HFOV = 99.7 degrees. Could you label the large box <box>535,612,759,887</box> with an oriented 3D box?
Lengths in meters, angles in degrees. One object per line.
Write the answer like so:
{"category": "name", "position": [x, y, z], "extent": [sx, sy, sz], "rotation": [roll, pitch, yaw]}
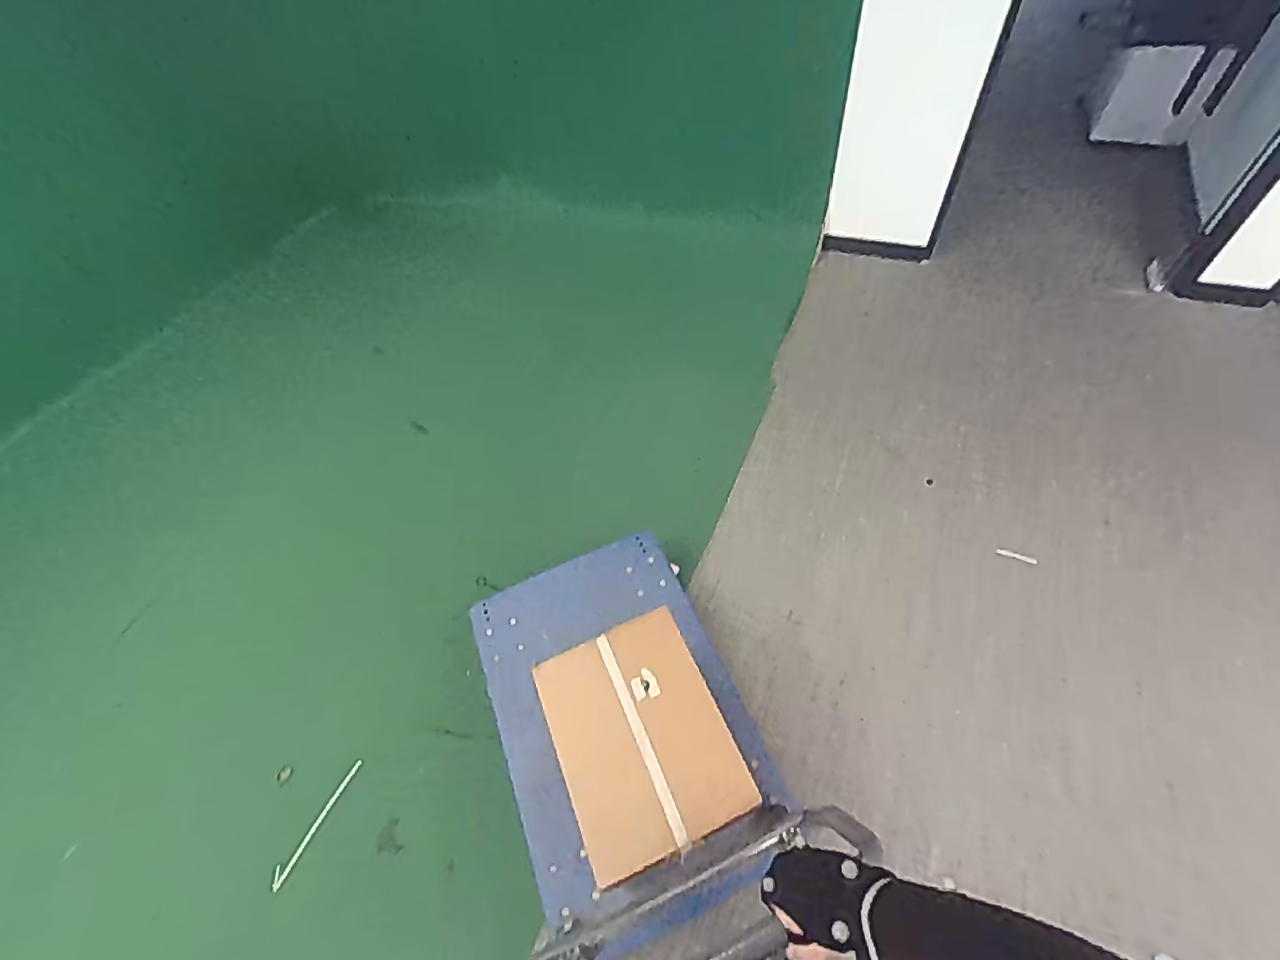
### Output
{"category": "large box", "position": [0.017, 0.573, 1.162], "extent": [0.320, 0.320, 0.408], "rotation": [-23, 54, -9]}
